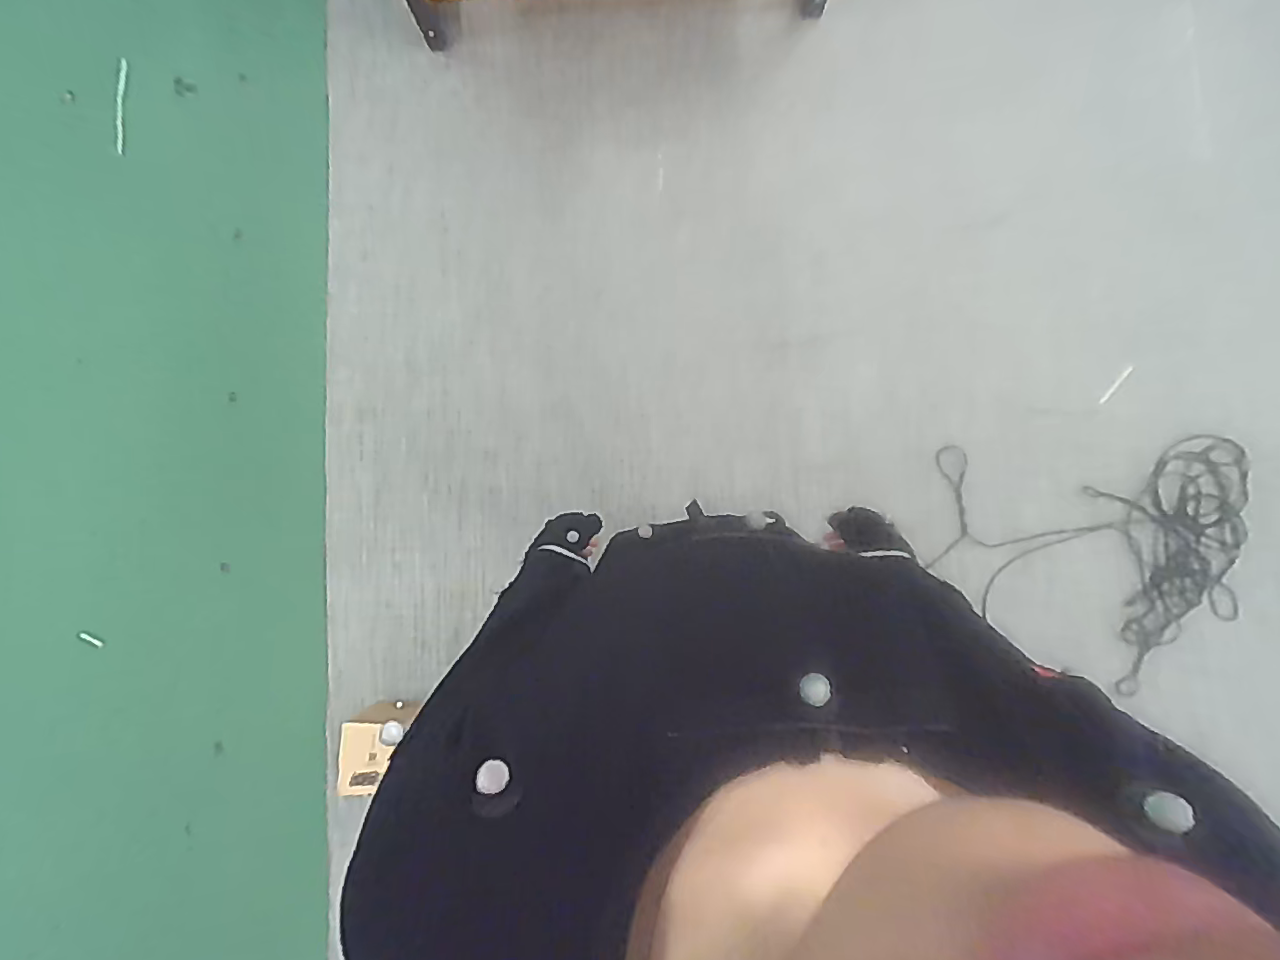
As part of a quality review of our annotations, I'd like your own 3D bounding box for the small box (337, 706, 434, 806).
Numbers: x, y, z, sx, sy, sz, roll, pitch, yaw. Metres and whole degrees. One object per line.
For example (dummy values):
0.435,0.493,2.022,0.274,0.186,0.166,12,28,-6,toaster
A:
-0.644,0.701,1.387,0.168,0.176,0.179,1,84,3,small box
